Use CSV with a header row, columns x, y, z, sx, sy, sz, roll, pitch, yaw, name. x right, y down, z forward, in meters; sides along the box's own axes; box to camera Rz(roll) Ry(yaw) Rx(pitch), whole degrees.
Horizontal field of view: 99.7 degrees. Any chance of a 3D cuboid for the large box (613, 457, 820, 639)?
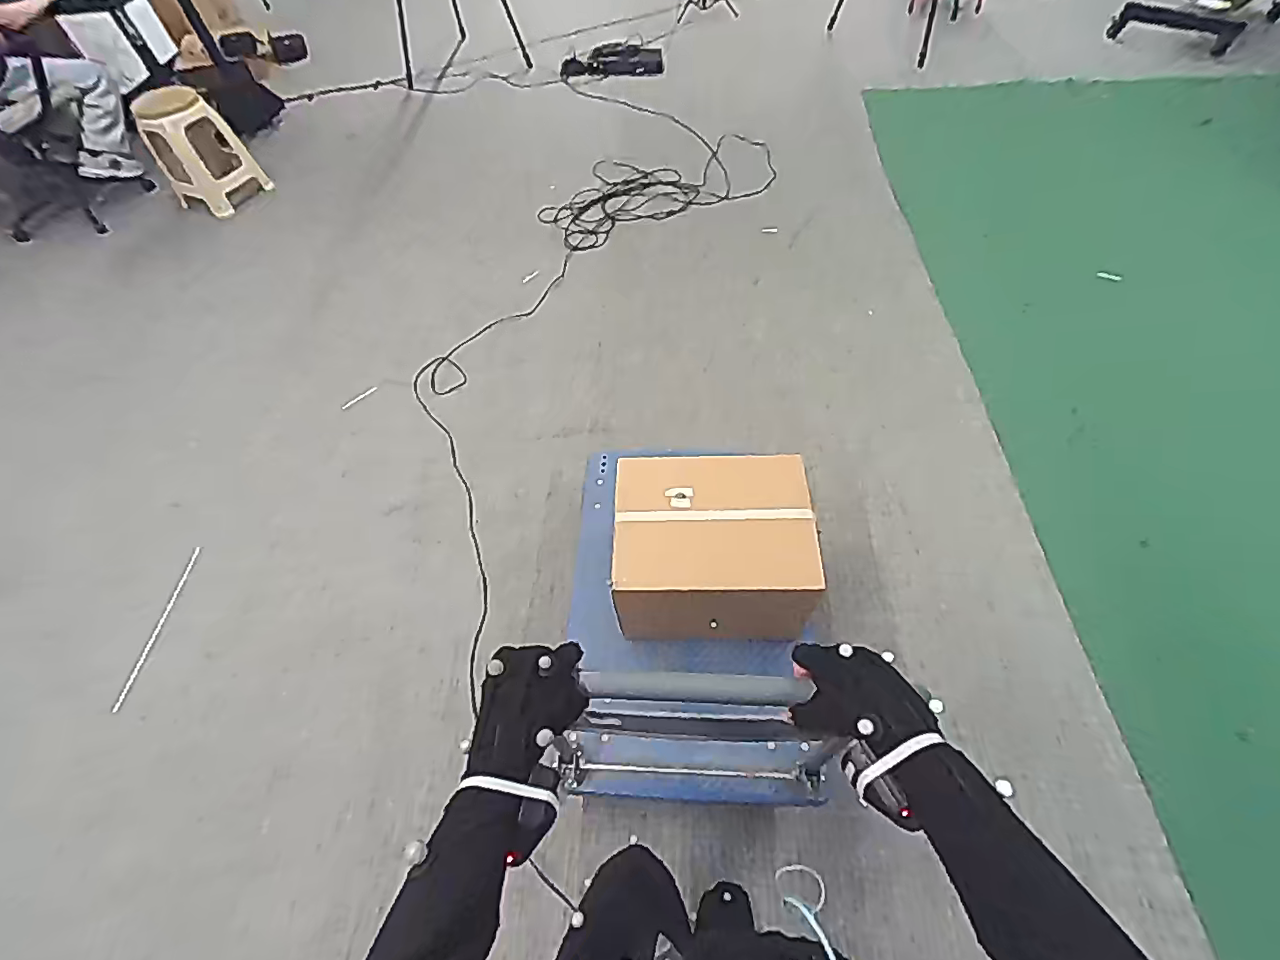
x,y,z,sx,sy,sz,roll,pitch,yaw,name
0.160,0.167,1.239,0.408,0.320,0.320,-2,56,5,large box
